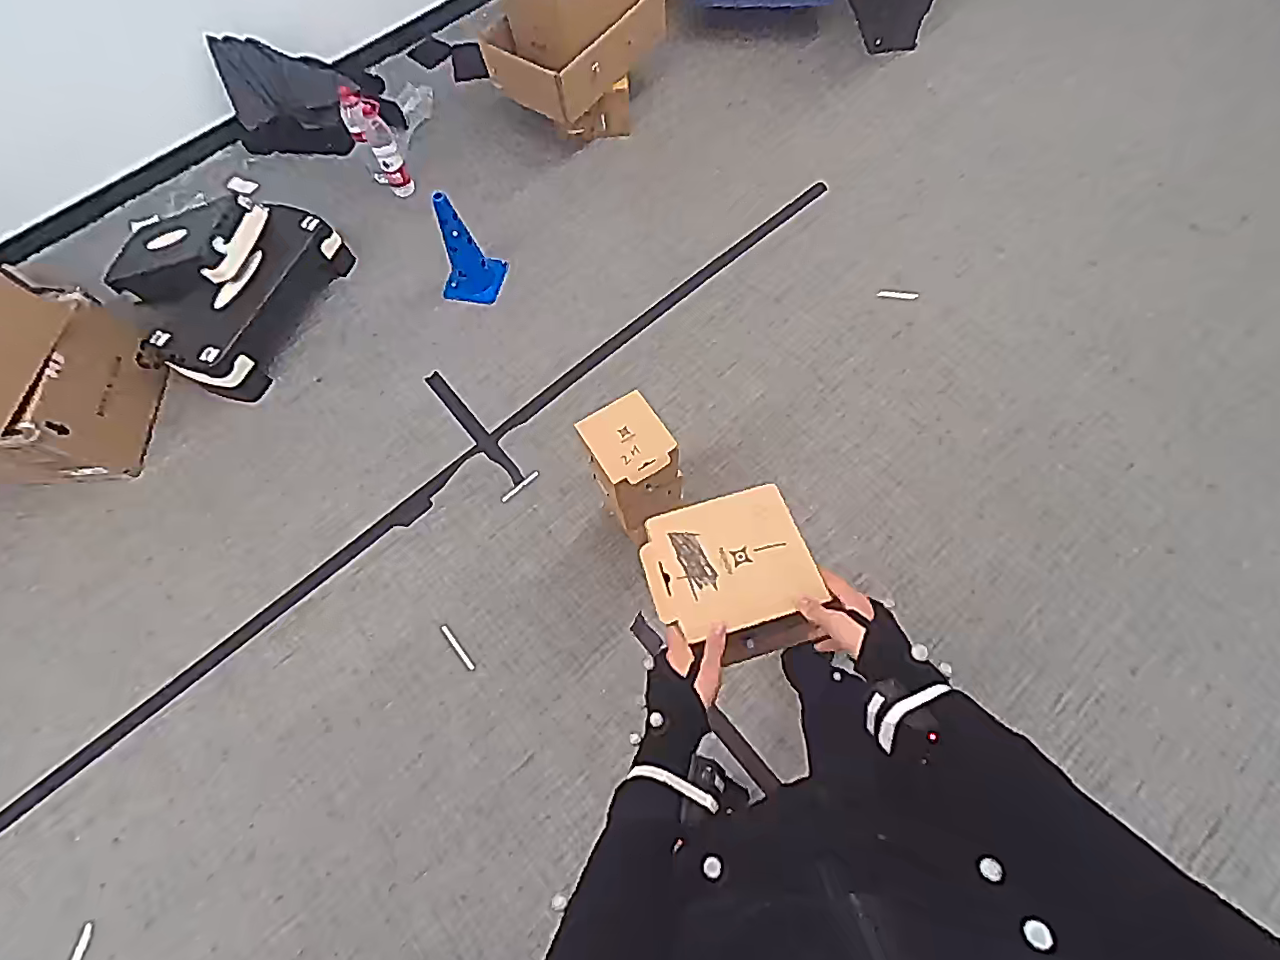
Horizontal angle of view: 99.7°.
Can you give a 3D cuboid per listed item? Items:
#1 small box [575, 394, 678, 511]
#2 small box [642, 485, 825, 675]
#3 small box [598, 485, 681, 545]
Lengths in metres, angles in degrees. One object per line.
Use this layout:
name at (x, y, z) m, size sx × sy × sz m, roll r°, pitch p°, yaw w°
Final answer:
small box at (-0.030, -0.058, 1.238) m, size 0.168 × 0.176 × 0.179 m, roll -31°, pitch 70°, yaw -10°
small box at (0.113, 0.137, 0.708) m, size 0.179 × 0.176 × 0.168 m, roll -17°, pitch 58°, yaw -5°
small box at (0.003, 0.069, 1.542) m, size 0.168 × 0.176 × 0.179 m, roll -36°, pitch 70°, yaw -11°
